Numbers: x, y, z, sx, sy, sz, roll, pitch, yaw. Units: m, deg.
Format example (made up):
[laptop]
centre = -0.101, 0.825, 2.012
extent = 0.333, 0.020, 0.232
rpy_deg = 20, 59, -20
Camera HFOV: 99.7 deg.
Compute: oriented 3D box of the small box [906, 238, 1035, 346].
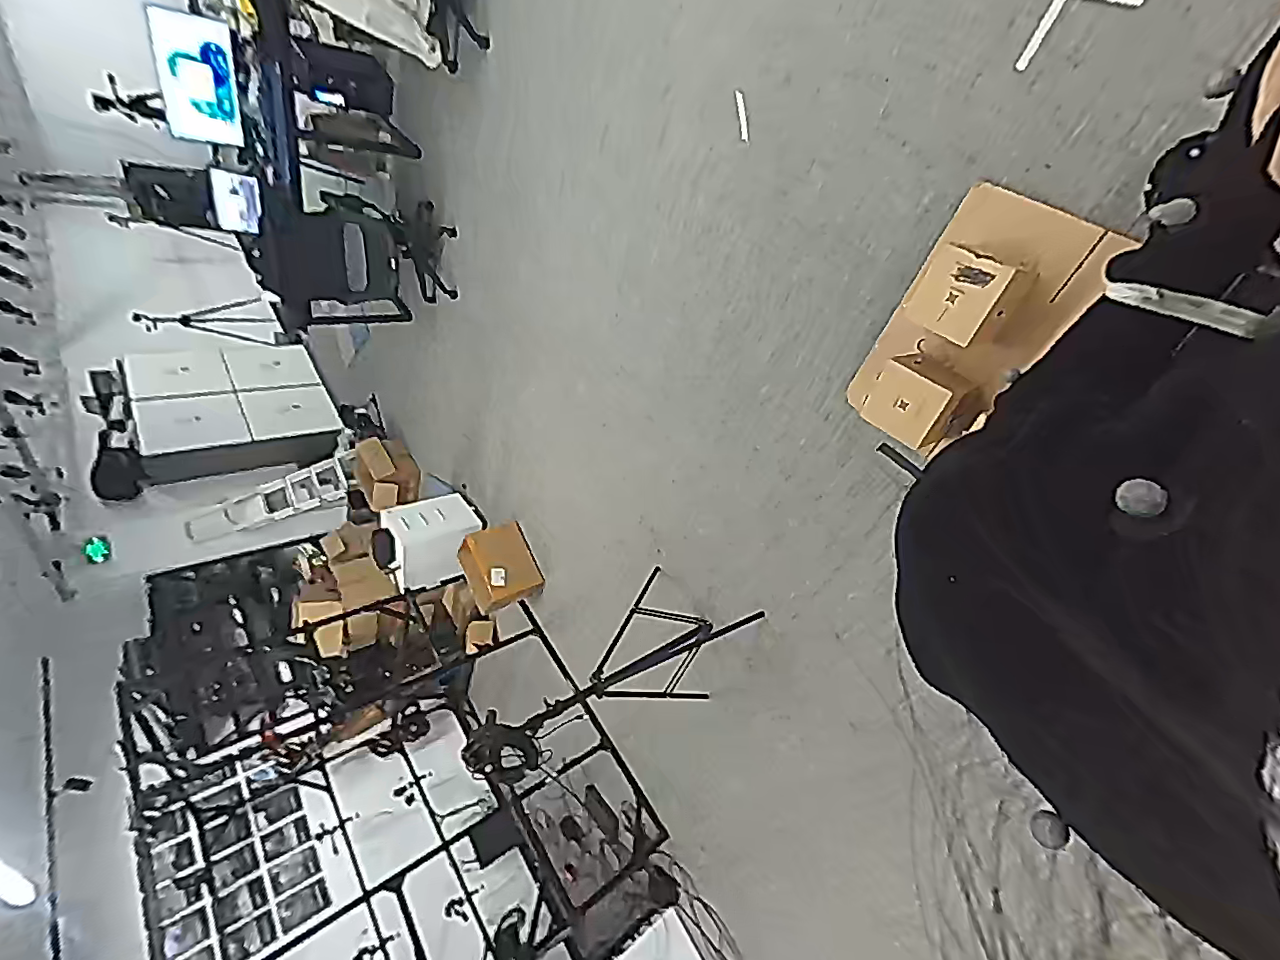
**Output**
[small box]
centre = 0.748, -0.423, 1.217
extent = 0.168, 0.176, 0.179
rpy_deg = 45, 133, 32
